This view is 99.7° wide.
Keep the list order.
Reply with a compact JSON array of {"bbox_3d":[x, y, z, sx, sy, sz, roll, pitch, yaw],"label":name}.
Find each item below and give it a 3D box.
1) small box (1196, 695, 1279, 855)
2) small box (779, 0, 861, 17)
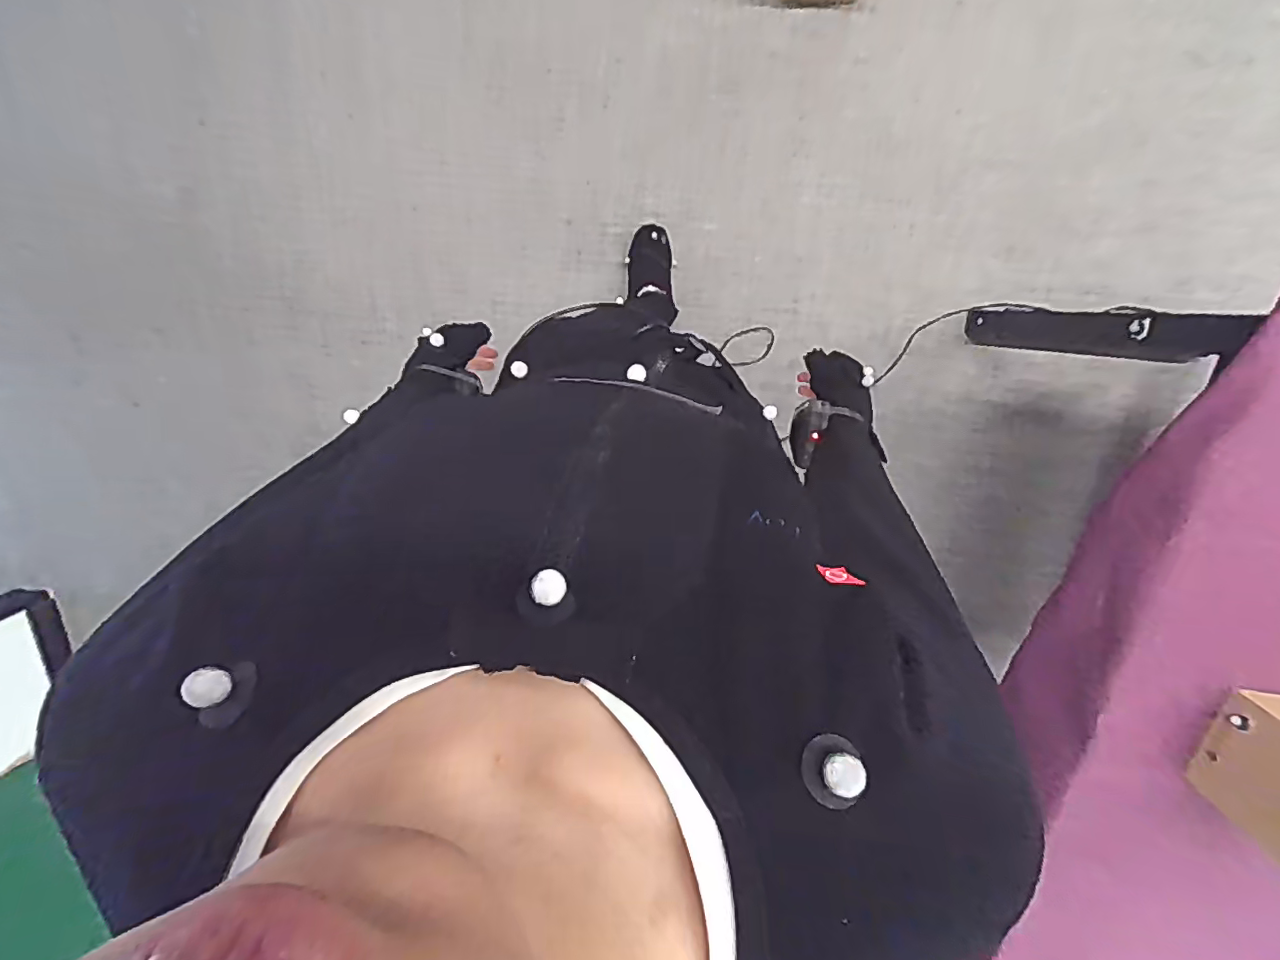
[{"bbox_3d":[0.901,0.405,0.699,0.179,0.176,0.168,7,107,1],"label":"small box"},{"bbox_3d":[0.374,-1.054,1.053,0.168,0.176,0.179,4,107,3],"label":"small box"}]
